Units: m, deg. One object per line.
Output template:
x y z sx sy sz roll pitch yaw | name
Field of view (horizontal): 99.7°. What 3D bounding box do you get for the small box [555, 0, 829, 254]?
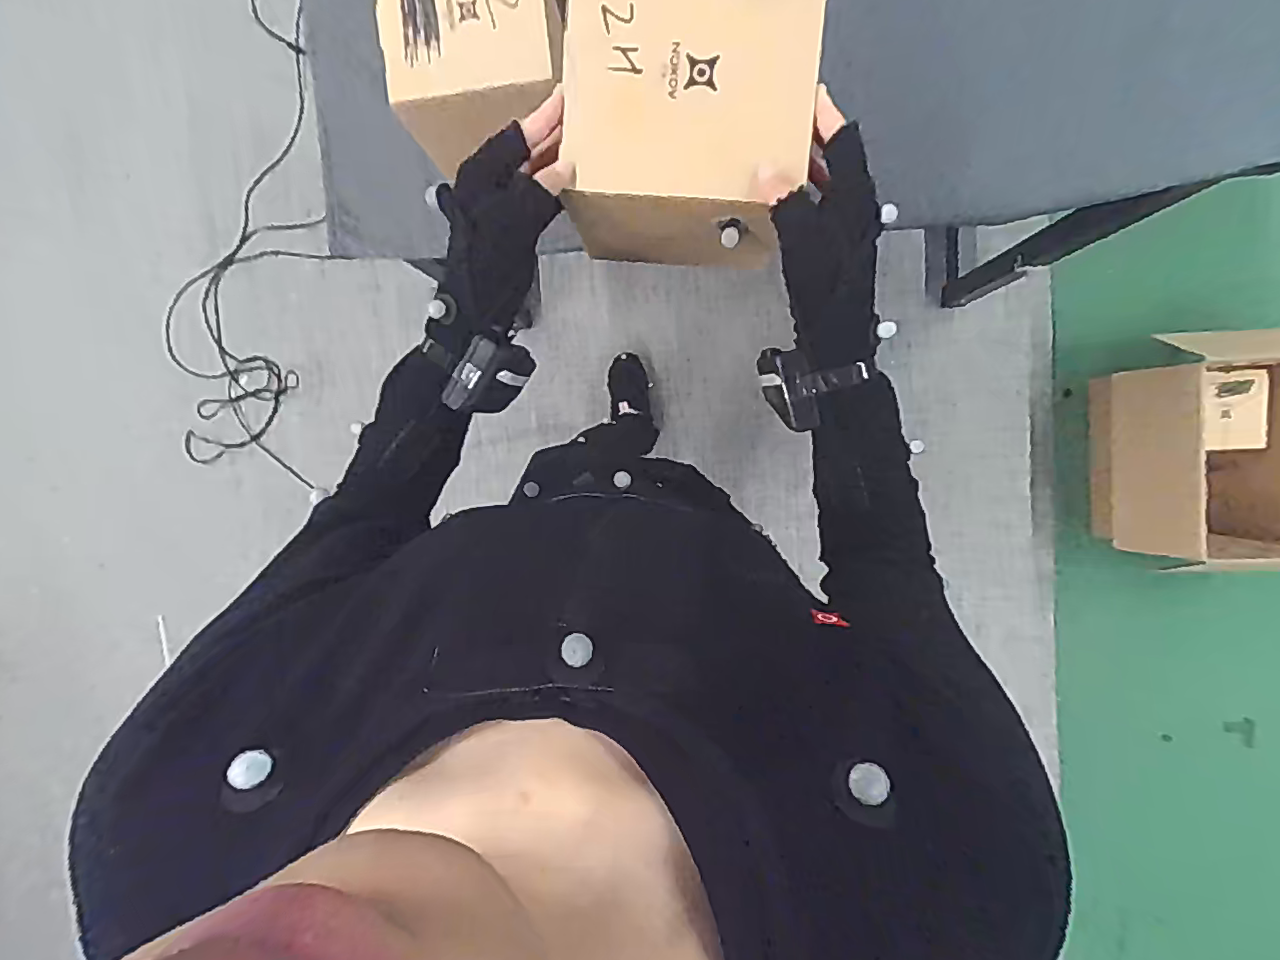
0.038 -0.293 0.439 0.179 0.176 0.168 5 97 3 | small box
